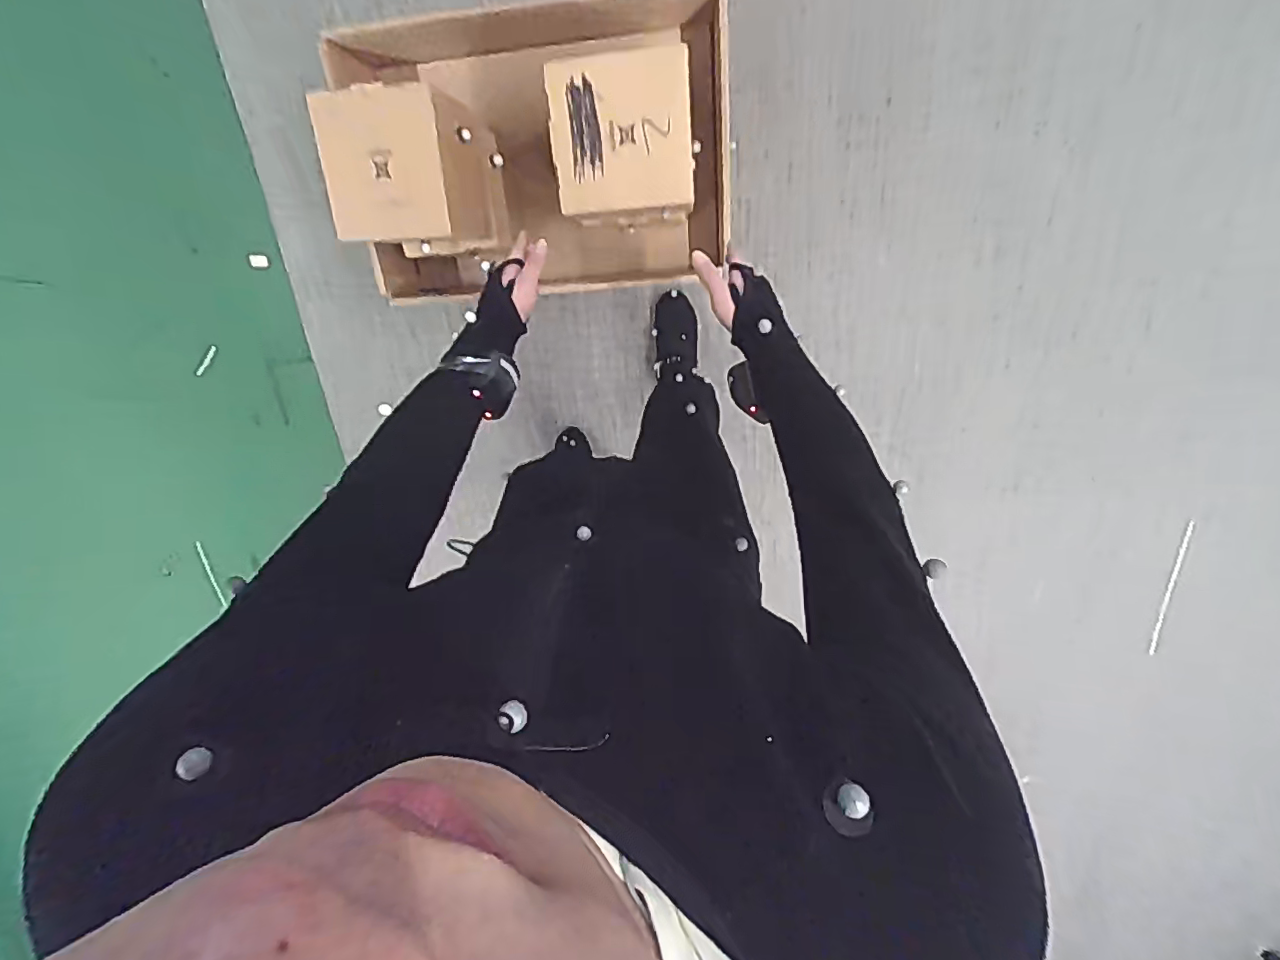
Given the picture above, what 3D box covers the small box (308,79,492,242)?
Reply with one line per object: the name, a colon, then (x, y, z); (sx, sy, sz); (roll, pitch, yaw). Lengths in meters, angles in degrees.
small box: (-0.325, -0.440, 0.772); (0.168, 0.176, 0.179); (1, 113, 6)
